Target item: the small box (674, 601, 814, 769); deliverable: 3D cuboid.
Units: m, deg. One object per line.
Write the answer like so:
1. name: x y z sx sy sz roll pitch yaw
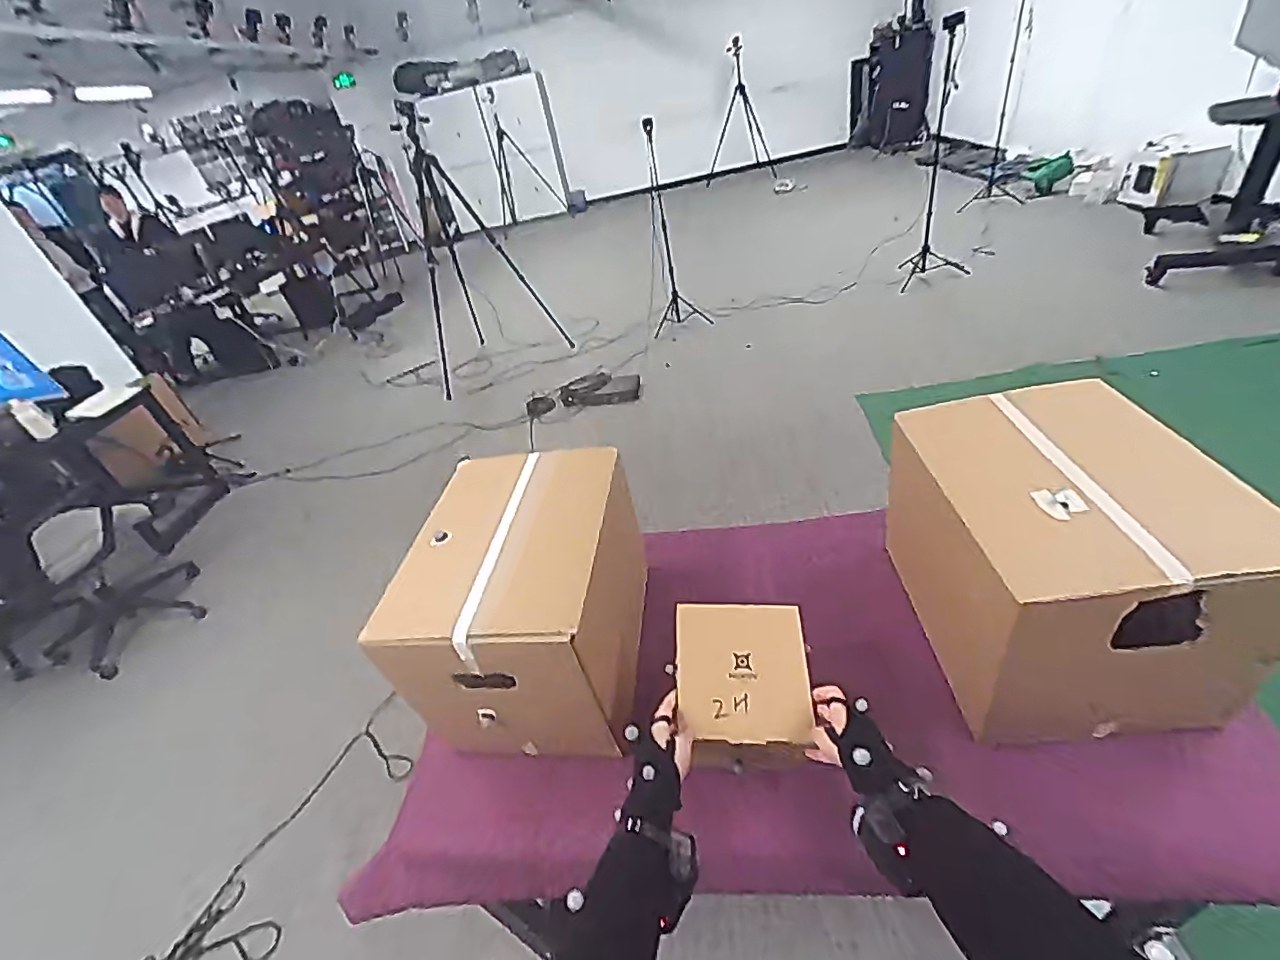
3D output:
1. small box: 0.132 0.286 0.750 0.168 0.176 0.179 0 53 5

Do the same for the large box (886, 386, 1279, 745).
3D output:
1. large box: 0.593 0.112 0.797 0.320 0.320 0.408 -10 37 9
